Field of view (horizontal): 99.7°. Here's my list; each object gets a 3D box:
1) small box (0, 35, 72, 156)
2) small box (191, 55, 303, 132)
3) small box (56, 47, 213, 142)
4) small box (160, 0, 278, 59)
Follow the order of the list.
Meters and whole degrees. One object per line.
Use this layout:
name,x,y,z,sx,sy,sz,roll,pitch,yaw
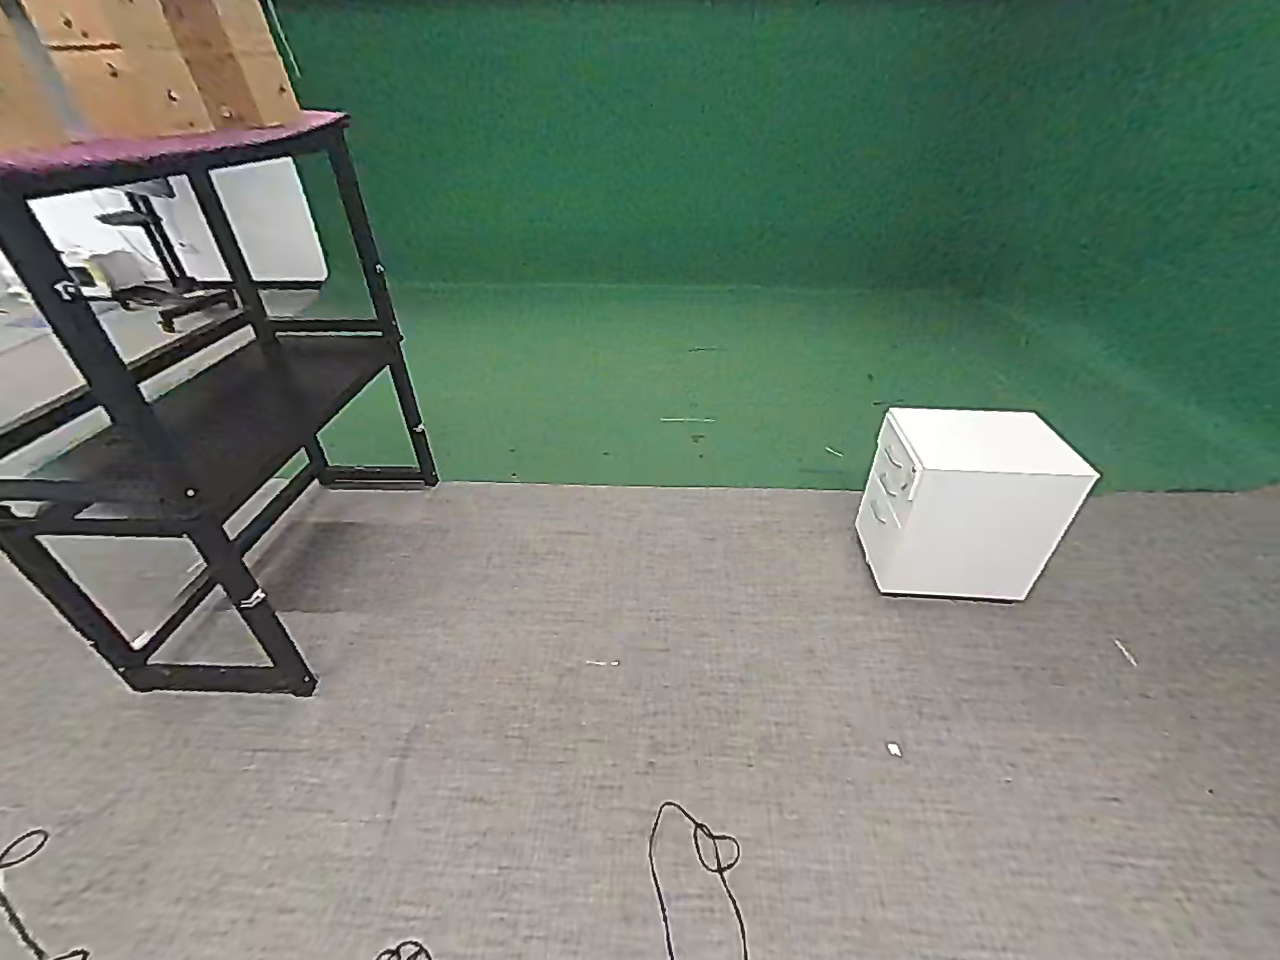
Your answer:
small box,-1.163,-0.660,0.930,0.168,0.176,0.179,-1,36,-2
small box,-1.110,-1.105,1.549,0.168,0.176,0.179,2,38,8
small box,-1.167,-0.902,1.269,0.179,0.176,0.168,1,35,3
small box,-1.126,-1.234,1.451,0.168,0.176,0.179,4,37,11
